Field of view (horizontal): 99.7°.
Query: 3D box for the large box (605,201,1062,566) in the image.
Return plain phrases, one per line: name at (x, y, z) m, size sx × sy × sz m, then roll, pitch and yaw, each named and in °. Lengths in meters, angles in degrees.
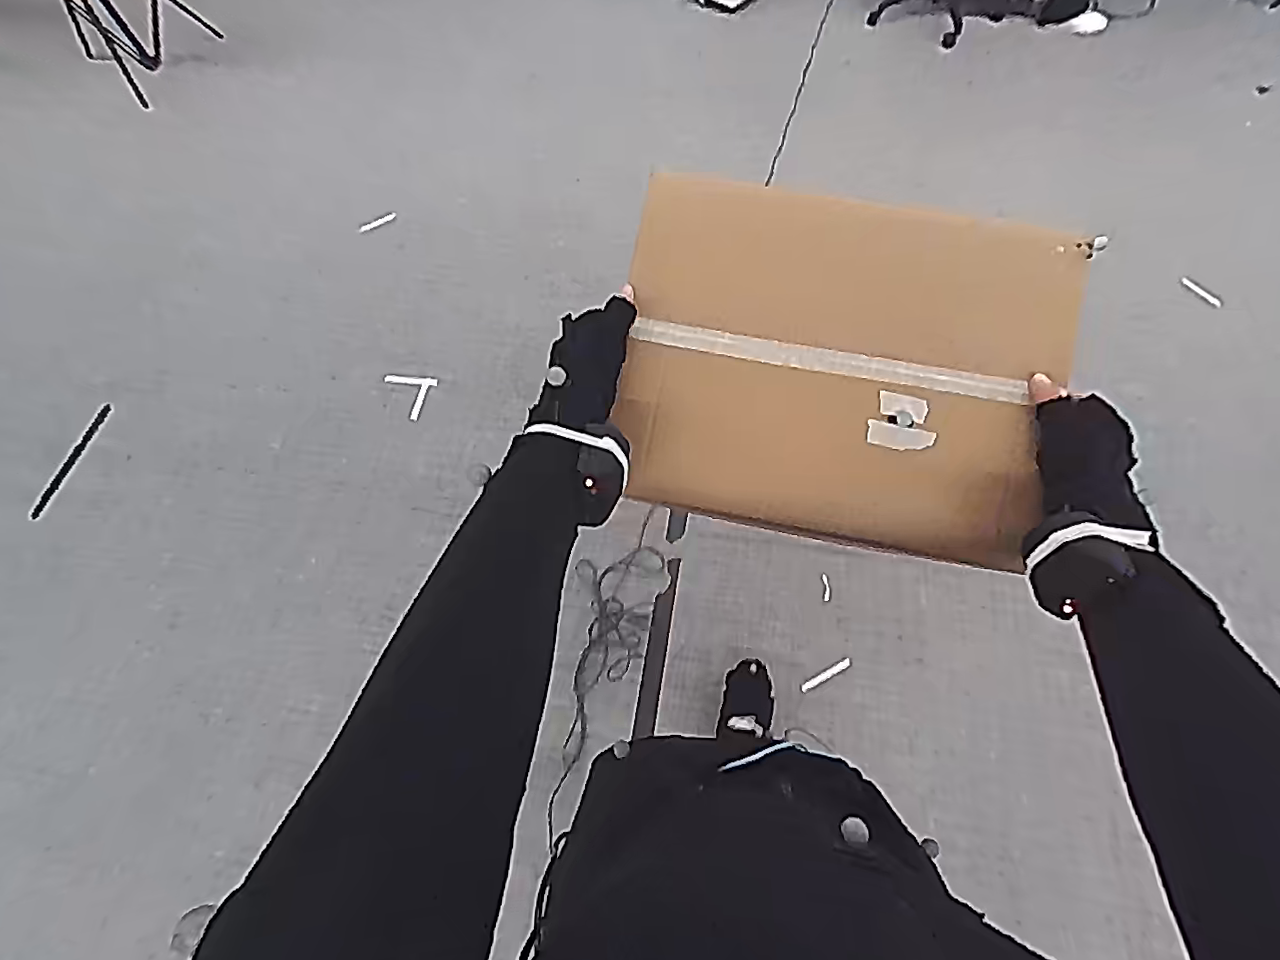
large box at (0.192, -0.091, 0.671) m, size 0.408 × 0.320 × 0.320 m, roll 11°, pitch 88°, yaw 4°
